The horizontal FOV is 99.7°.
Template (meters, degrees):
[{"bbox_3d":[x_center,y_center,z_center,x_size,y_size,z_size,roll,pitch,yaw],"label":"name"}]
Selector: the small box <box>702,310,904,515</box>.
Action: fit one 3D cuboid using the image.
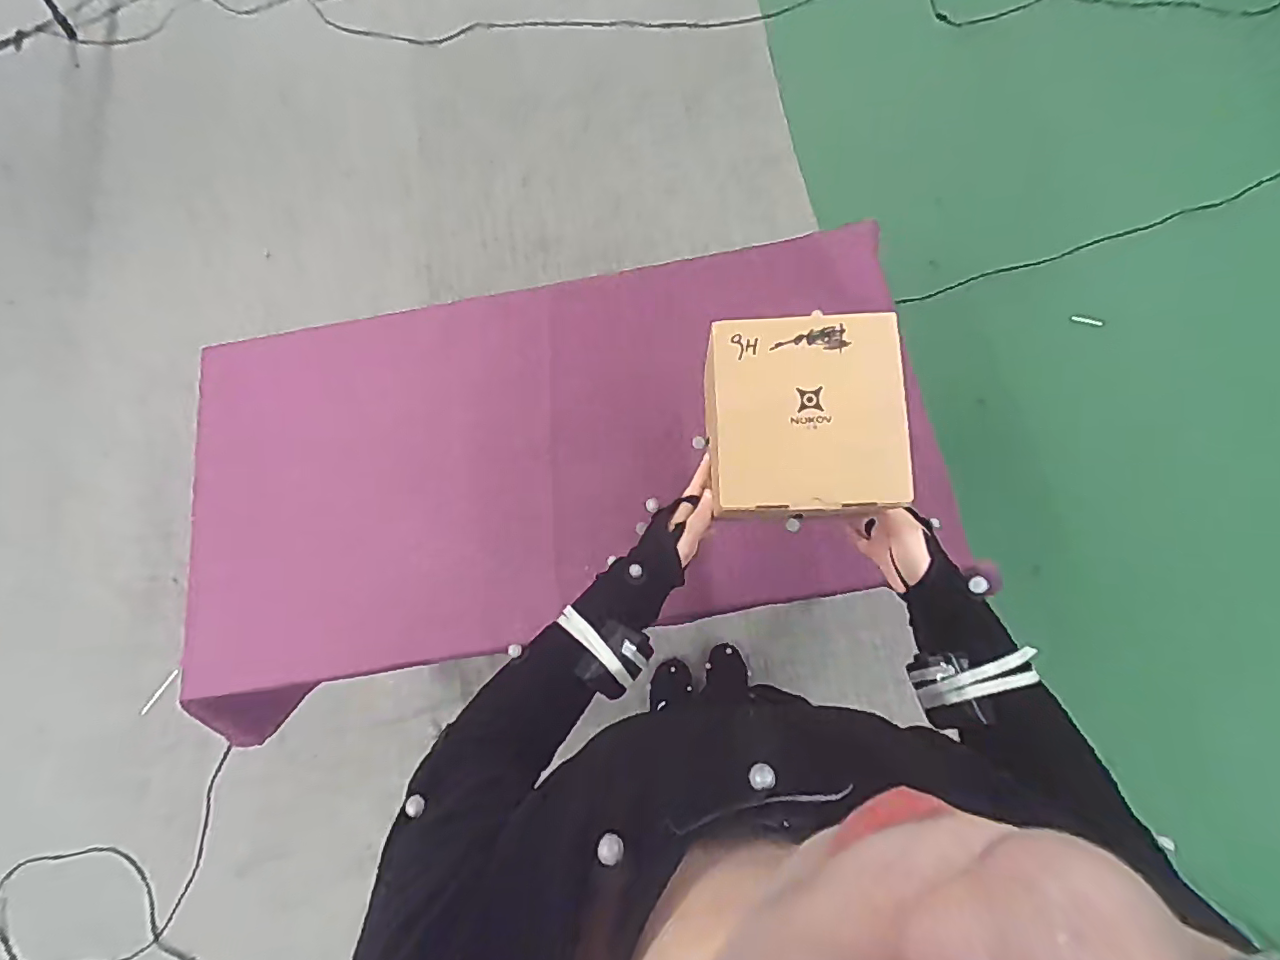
[{"bbox_3d":[0.150,-0.053,0.551,0.168,0.176,0.179,-1,82,5],"label":"small box"}]
